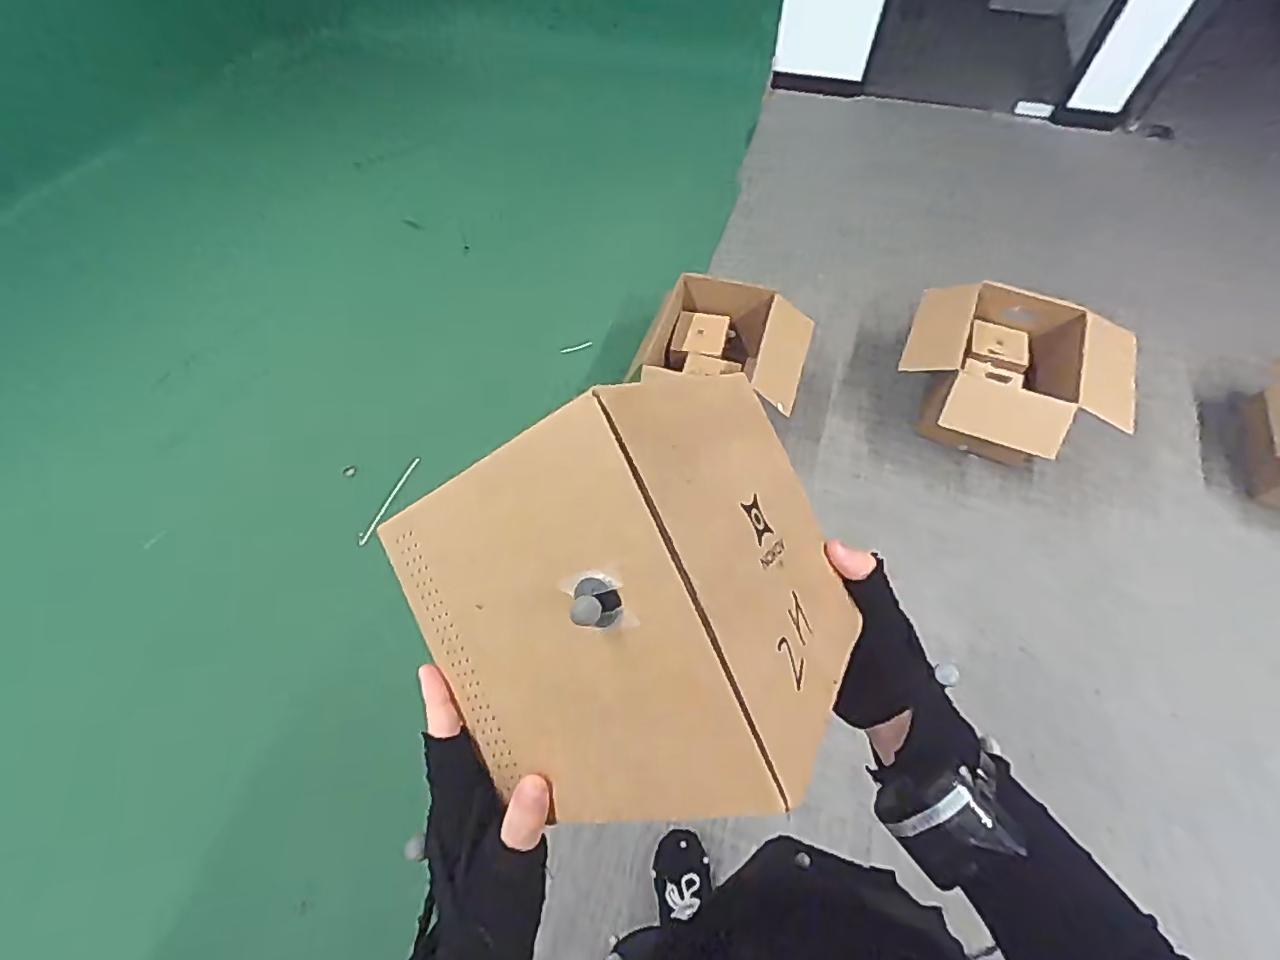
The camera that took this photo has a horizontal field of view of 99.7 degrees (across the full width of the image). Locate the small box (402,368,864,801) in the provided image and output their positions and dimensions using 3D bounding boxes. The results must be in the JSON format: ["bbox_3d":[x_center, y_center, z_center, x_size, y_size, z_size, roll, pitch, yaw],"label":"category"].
[{"bbox_3d":[0.000,0.053,0.310,0.168,0.176,0.179,-21,86,-57],"label":"small box"}]
